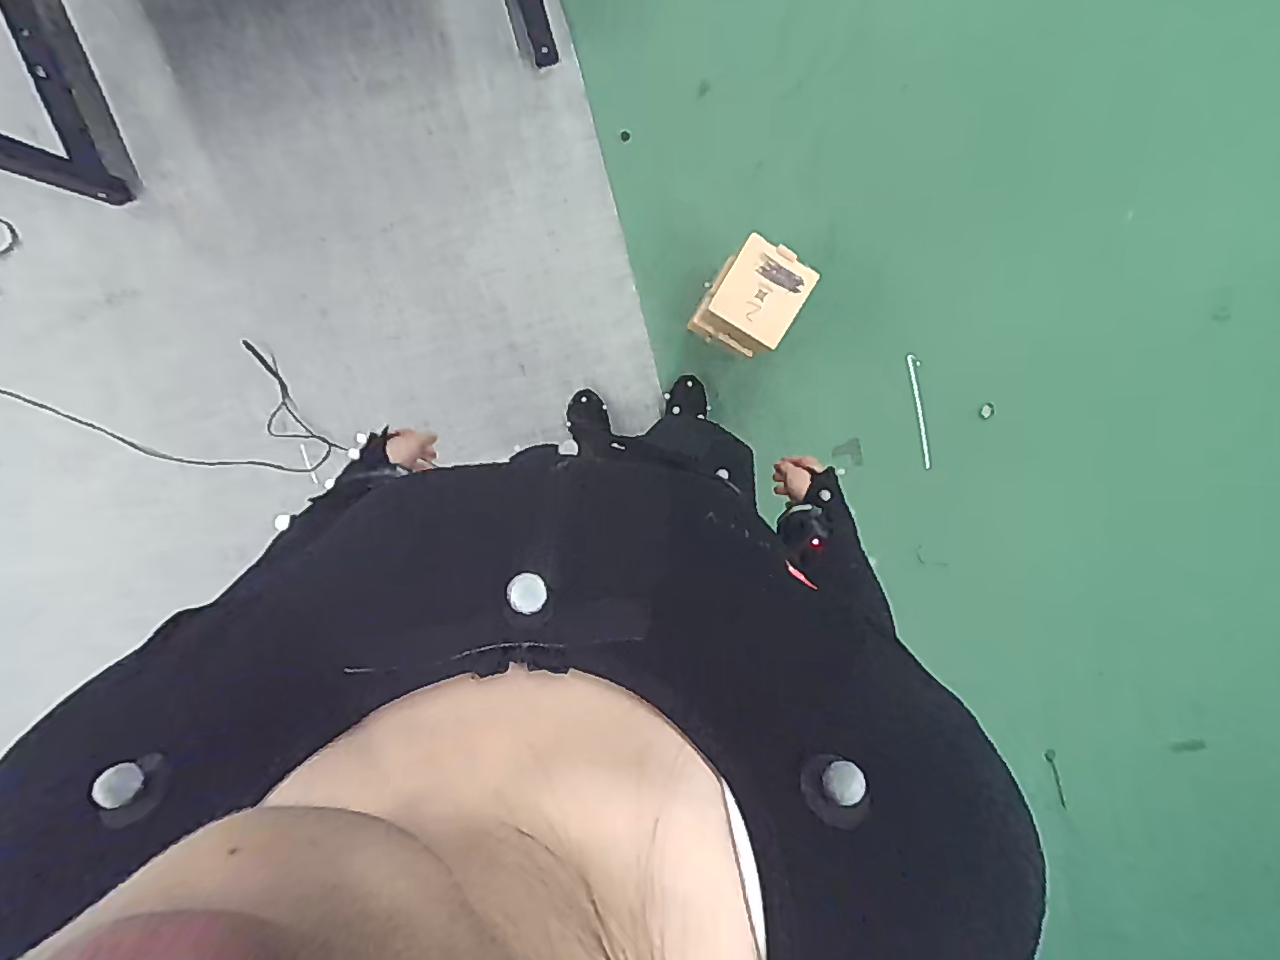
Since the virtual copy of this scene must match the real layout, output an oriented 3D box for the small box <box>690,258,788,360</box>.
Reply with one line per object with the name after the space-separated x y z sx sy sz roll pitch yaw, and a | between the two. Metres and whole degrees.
0.233 -0.409 1.329 0.168 0.176 0.179 30 99 -5 | small box
